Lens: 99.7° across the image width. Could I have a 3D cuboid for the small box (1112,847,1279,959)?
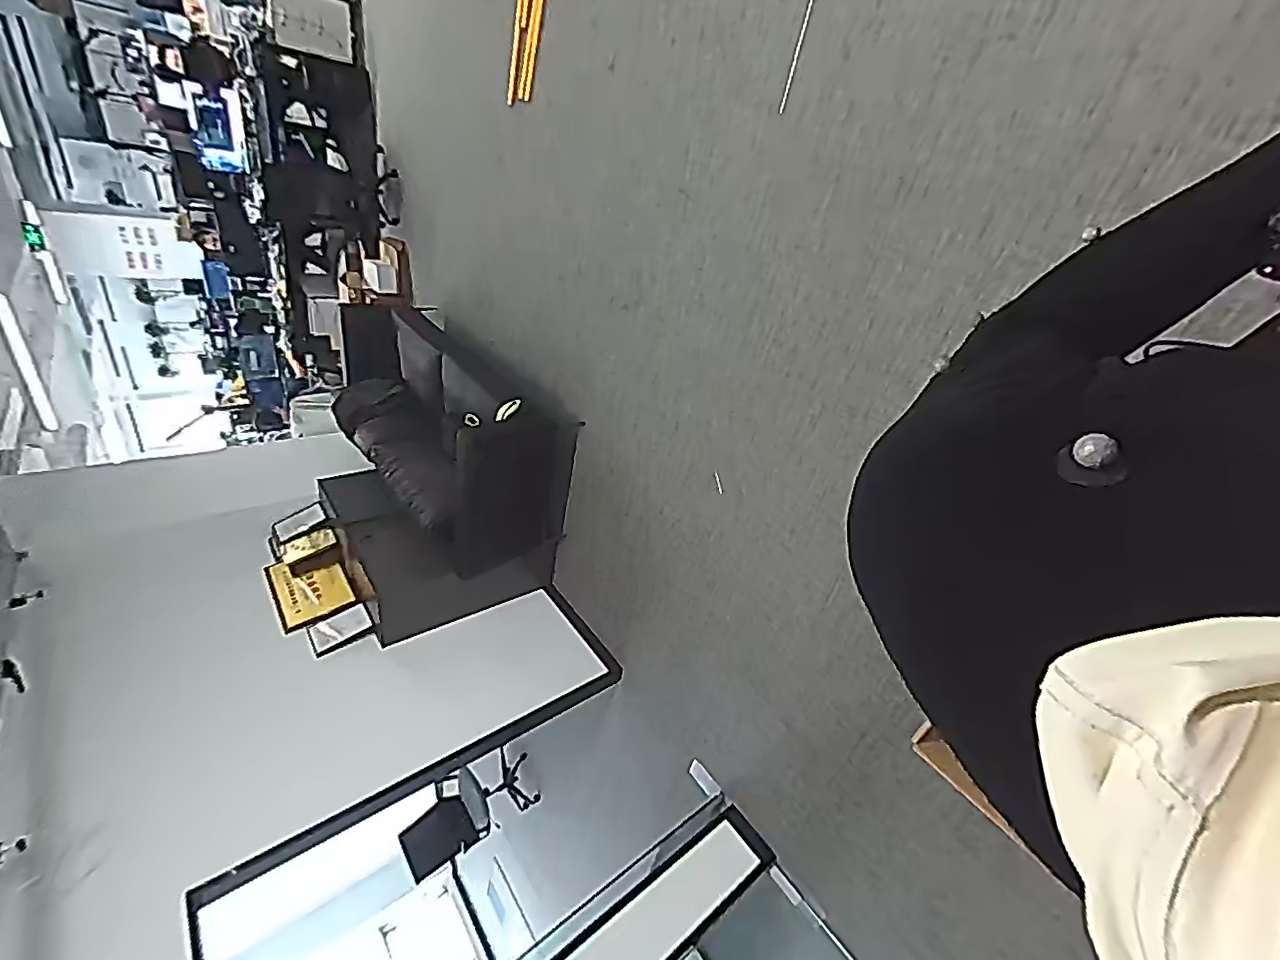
[{"bbox_3d":[0.860,0.695,0.794,0.168,0.176,0.179,42,132,34],"label":"small box"}]
